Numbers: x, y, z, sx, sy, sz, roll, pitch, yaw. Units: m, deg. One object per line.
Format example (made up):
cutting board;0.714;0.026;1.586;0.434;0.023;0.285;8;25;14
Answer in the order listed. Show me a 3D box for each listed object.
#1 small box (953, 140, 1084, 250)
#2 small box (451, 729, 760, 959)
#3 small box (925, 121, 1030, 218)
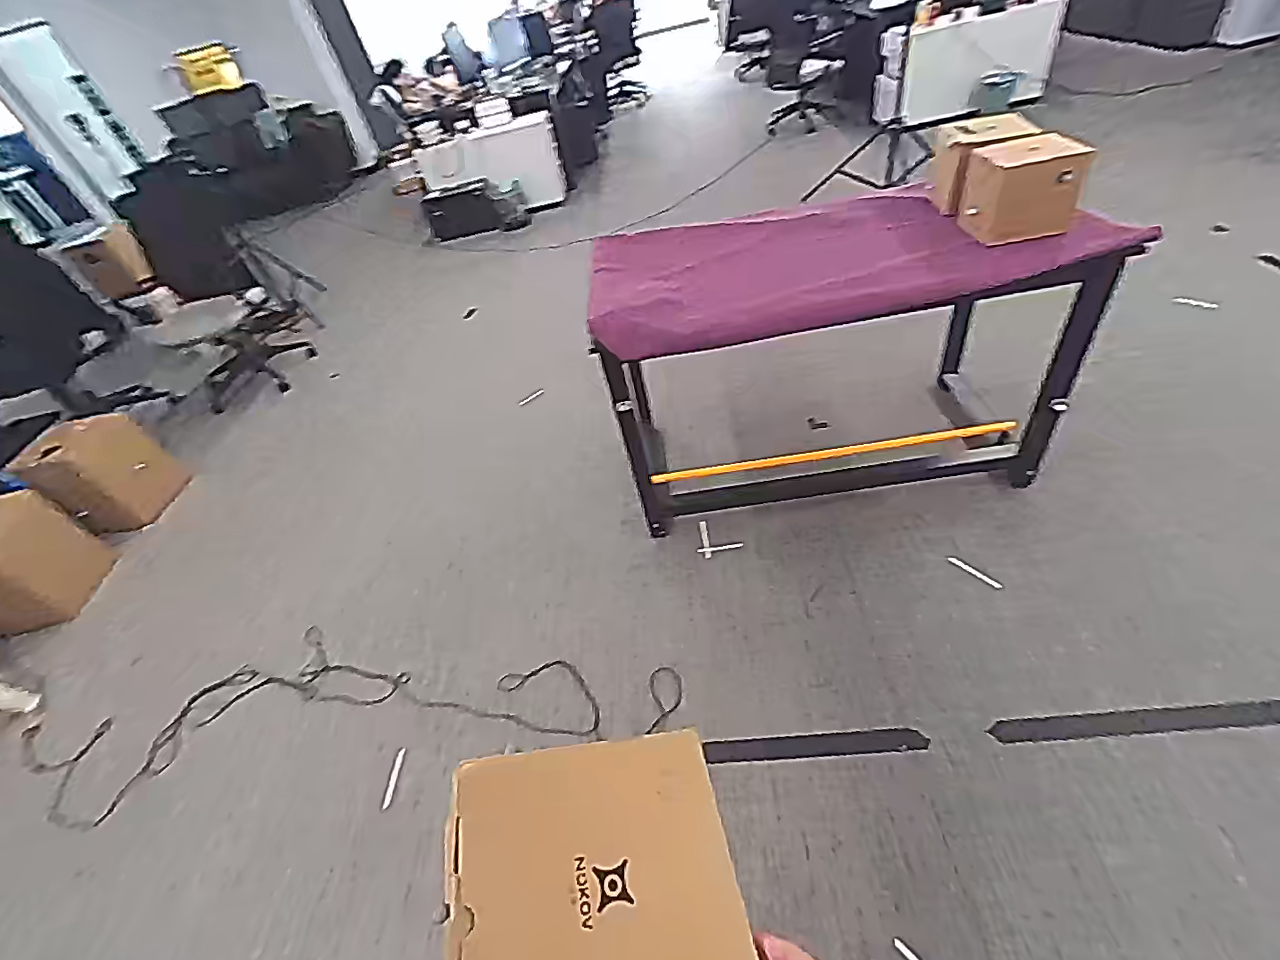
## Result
small box;0.860;-0.656;1.250;0.179;0.176;0.168;-8;42;8
small box;-0.041;0.300;0.391;0.179;0.176;0.168;1;49;-20
small box;0.854;-0.796;1.394;0.179;0.176;0.168;-4;46;10
